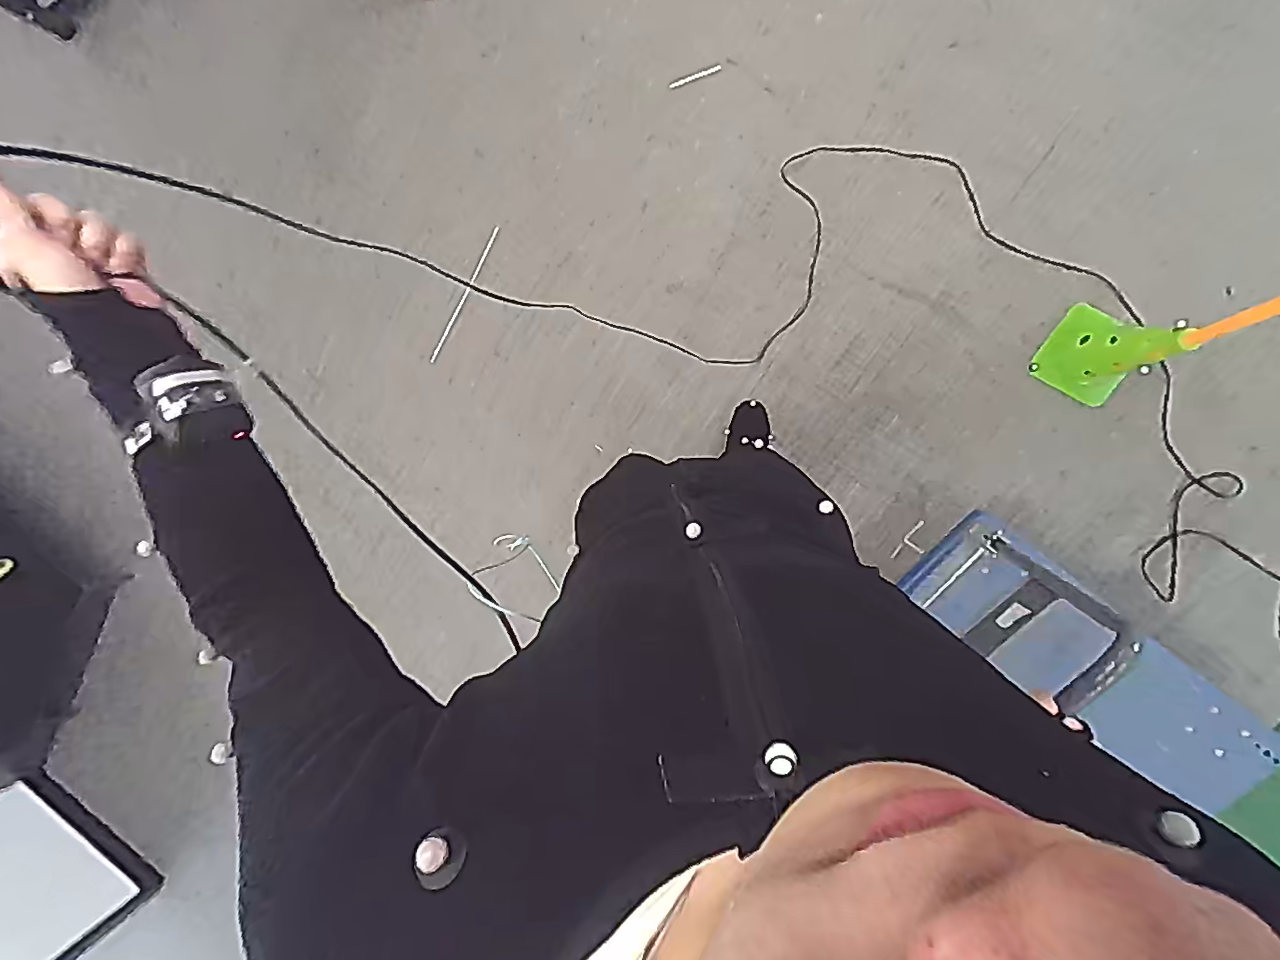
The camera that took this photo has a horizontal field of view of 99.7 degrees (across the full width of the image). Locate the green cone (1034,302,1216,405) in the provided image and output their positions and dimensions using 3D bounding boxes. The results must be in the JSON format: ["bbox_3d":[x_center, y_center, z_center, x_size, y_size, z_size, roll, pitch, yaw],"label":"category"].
[{"bbox_3d":[1.076,-0.289,1.164,0.200,0.368,0.202,32,103,7],"label":"green cone"}]
